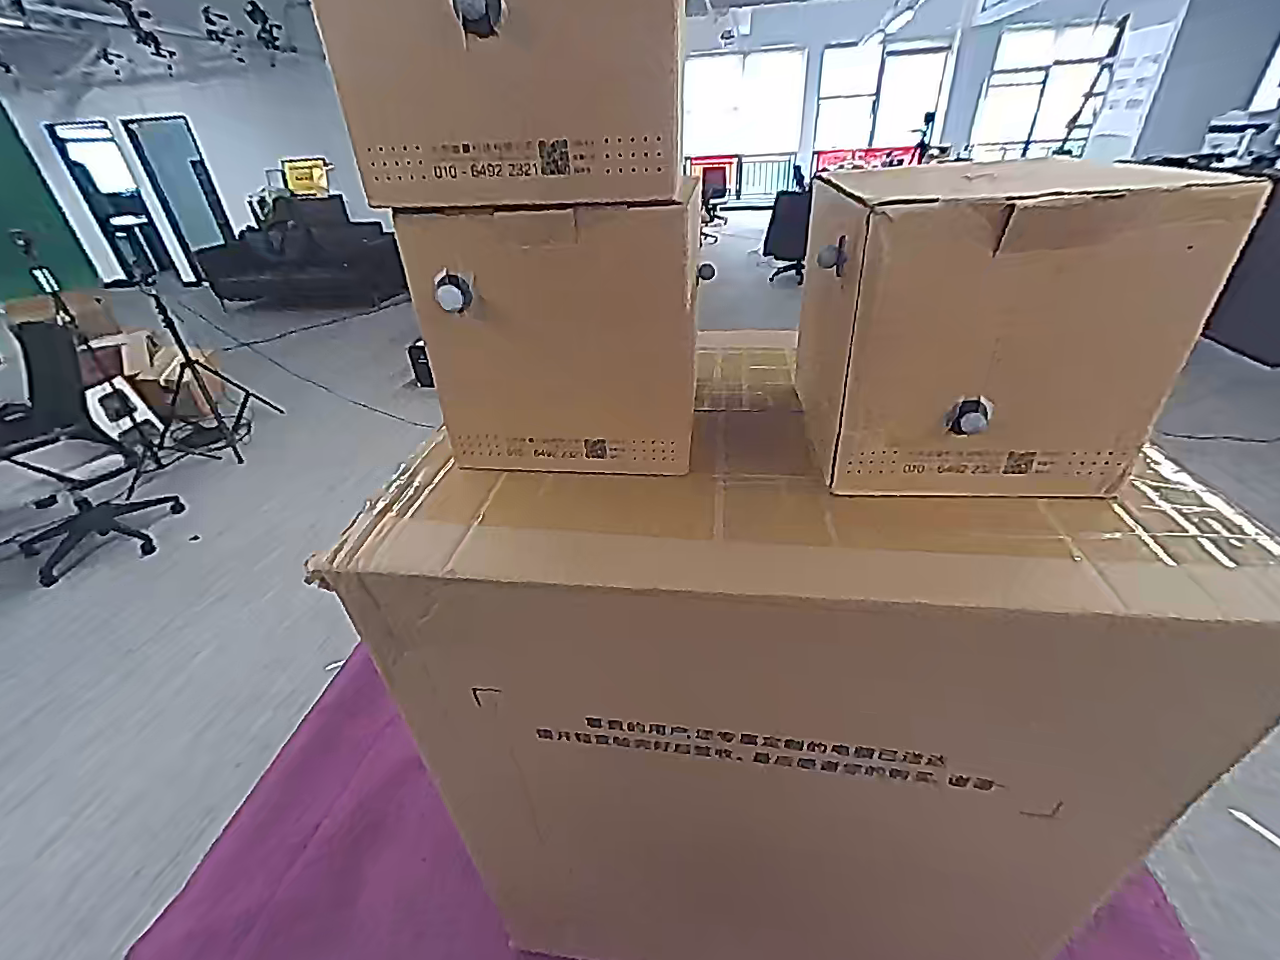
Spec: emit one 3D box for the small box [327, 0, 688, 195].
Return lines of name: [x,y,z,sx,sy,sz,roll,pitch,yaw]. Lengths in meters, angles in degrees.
small box: [-0.057,-0.261,0.307,0.168,0.176,0.179,1,32,4]

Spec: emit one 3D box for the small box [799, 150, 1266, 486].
small box: [0.205,-0.112,0.356,0.168,0.176,0.179,0,33,7]
